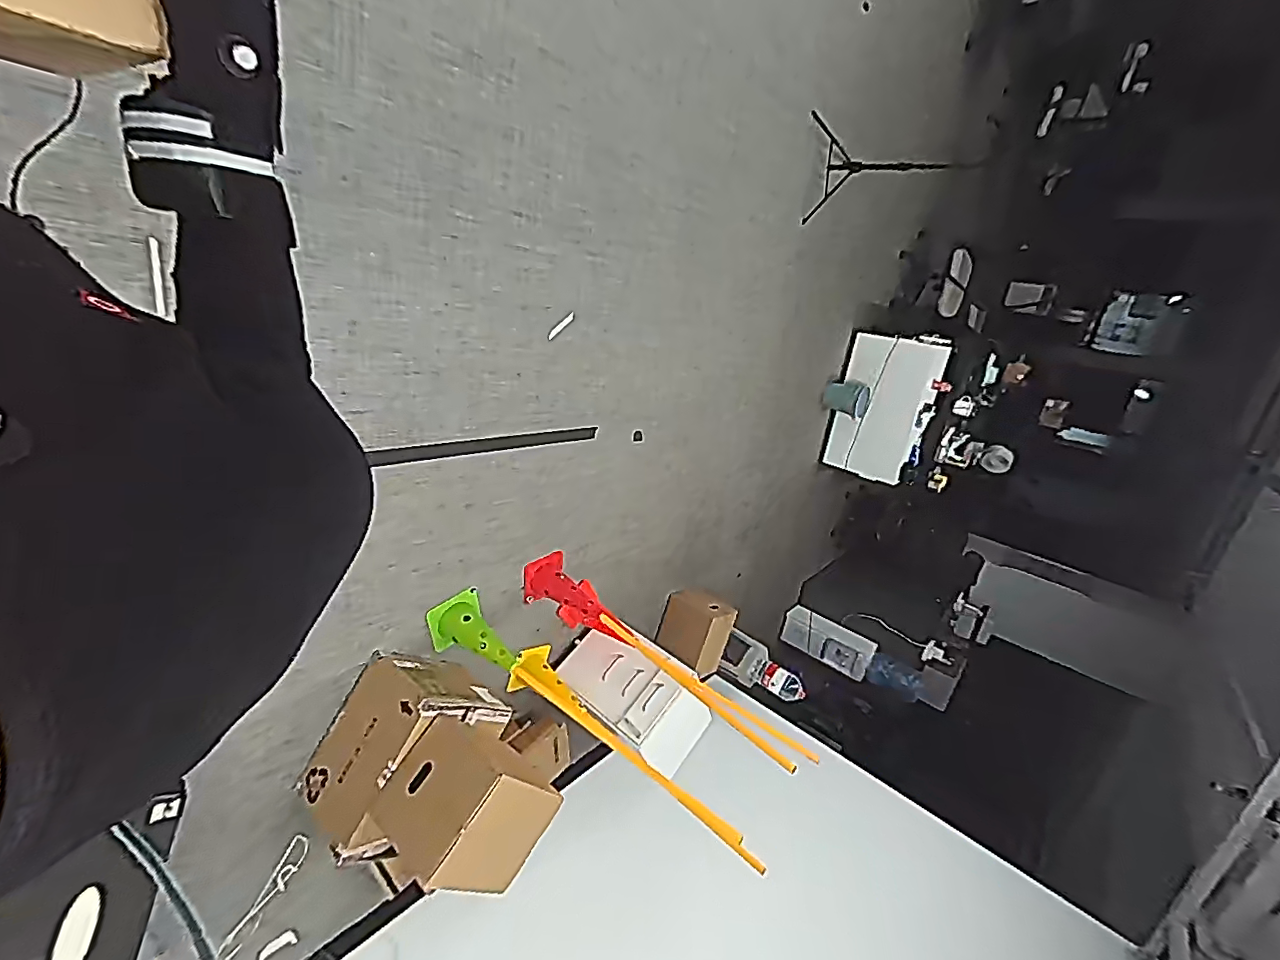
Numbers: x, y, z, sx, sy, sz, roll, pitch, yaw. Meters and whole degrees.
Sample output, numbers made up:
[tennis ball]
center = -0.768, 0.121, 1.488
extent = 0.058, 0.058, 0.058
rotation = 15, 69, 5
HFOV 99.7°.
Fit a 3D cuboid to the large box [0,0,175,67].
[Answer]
[large box]
center = -0.518, -0.435, 0.228
extent = 0.408, 0.320, 0.320
rotation = -17, 126, -50
